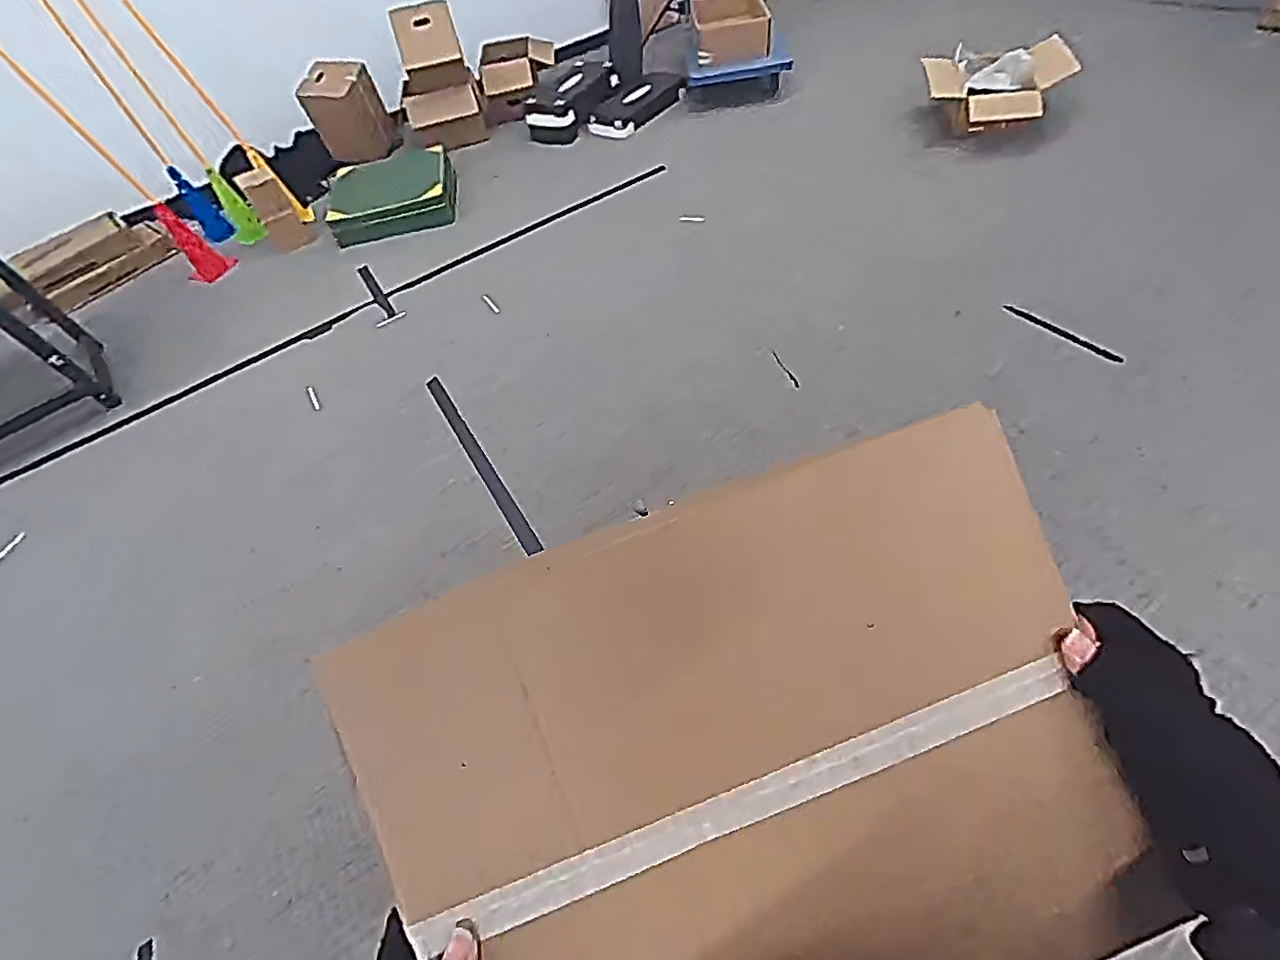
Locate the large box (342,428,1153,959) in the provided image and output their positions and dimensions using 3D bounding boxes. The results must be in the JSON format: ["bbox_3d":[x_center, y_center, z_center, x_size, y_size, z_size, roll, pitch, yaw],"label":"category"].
[{"bbox_3d":[0.063,0.185,0.459,0.408,0.320,0.320,-21,88,-4],"label":"large box"}]
